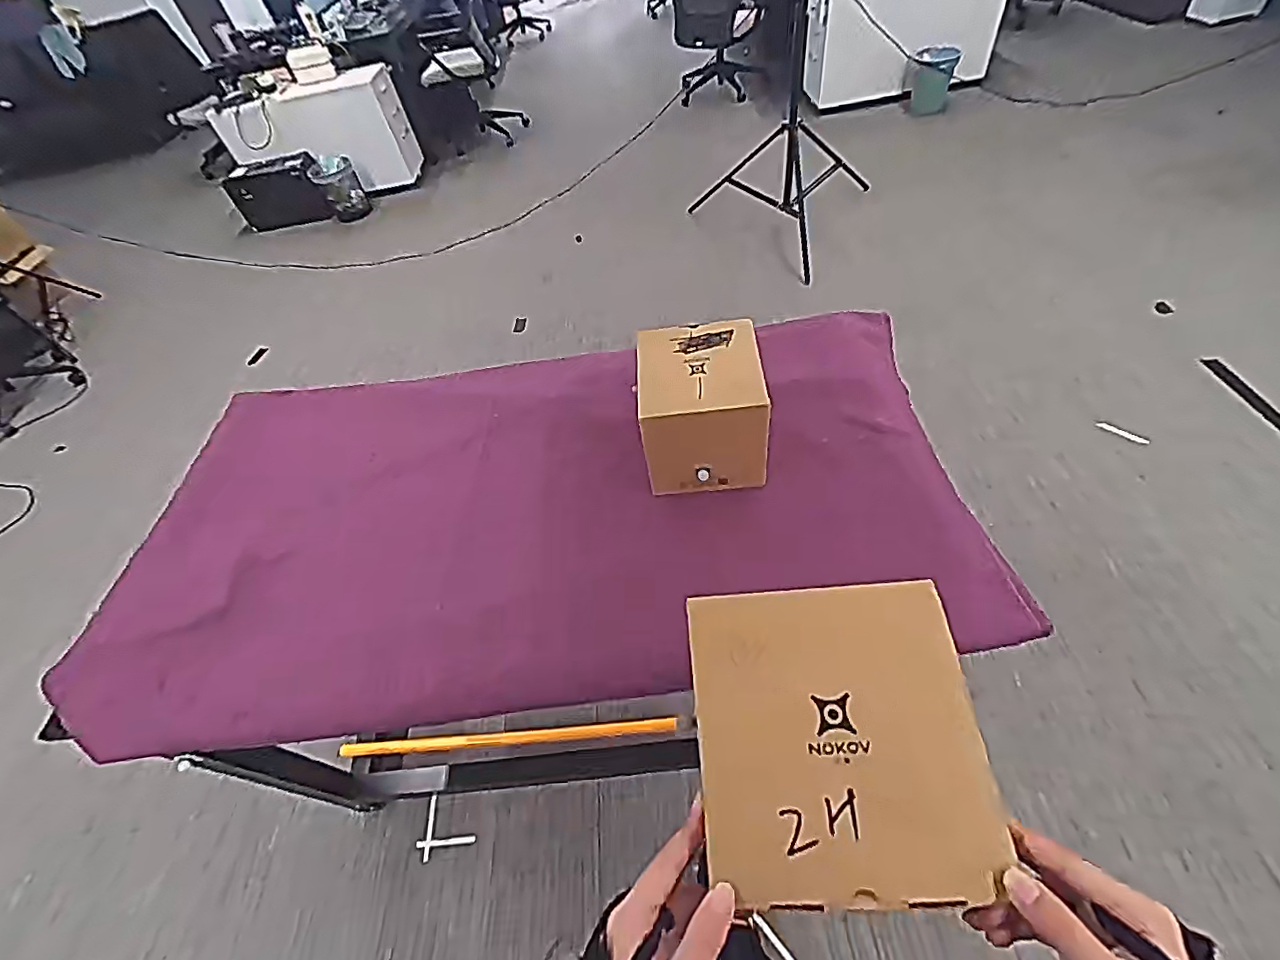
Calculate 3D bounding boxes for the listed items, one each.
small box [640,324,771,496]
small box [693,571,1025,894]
[{"bbox_3d":[0.092,-0.098,0.783,0.168,0.176,0.179,-5,51,6],"label":"small box"},{"bbox_3d":[0.127,0.180,0.395,0.168,0.176,0.179,-5,61,7],"label":"small box"}]
